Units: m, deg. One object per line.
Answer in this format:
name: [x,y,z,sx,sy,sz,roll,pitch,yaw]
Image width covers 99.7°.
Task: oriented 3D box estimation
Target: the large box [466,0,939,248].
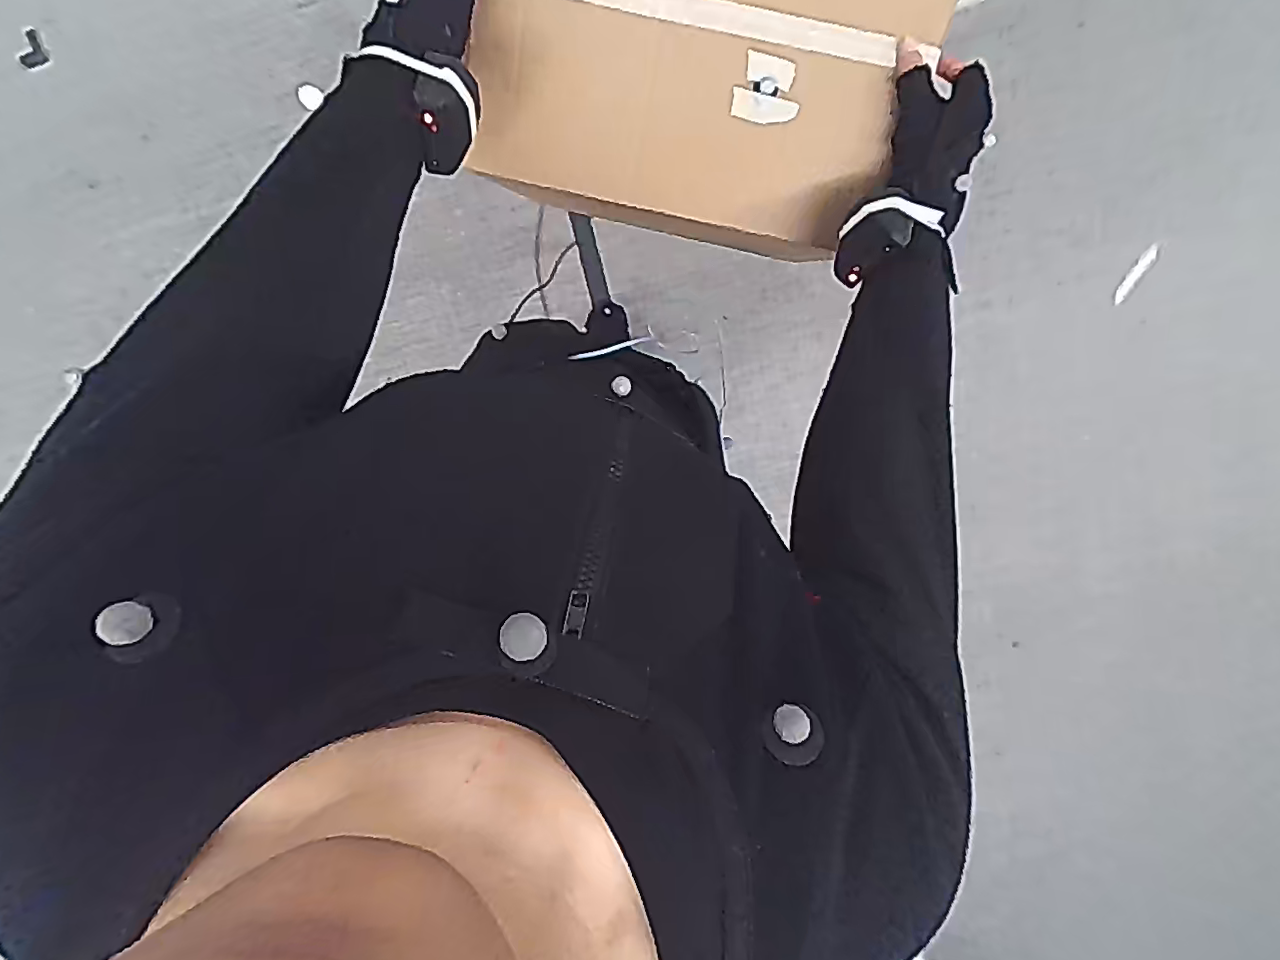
large box: [0.058,-0.464,0.605,0.408,0.320,0.320,11,113,-1]
